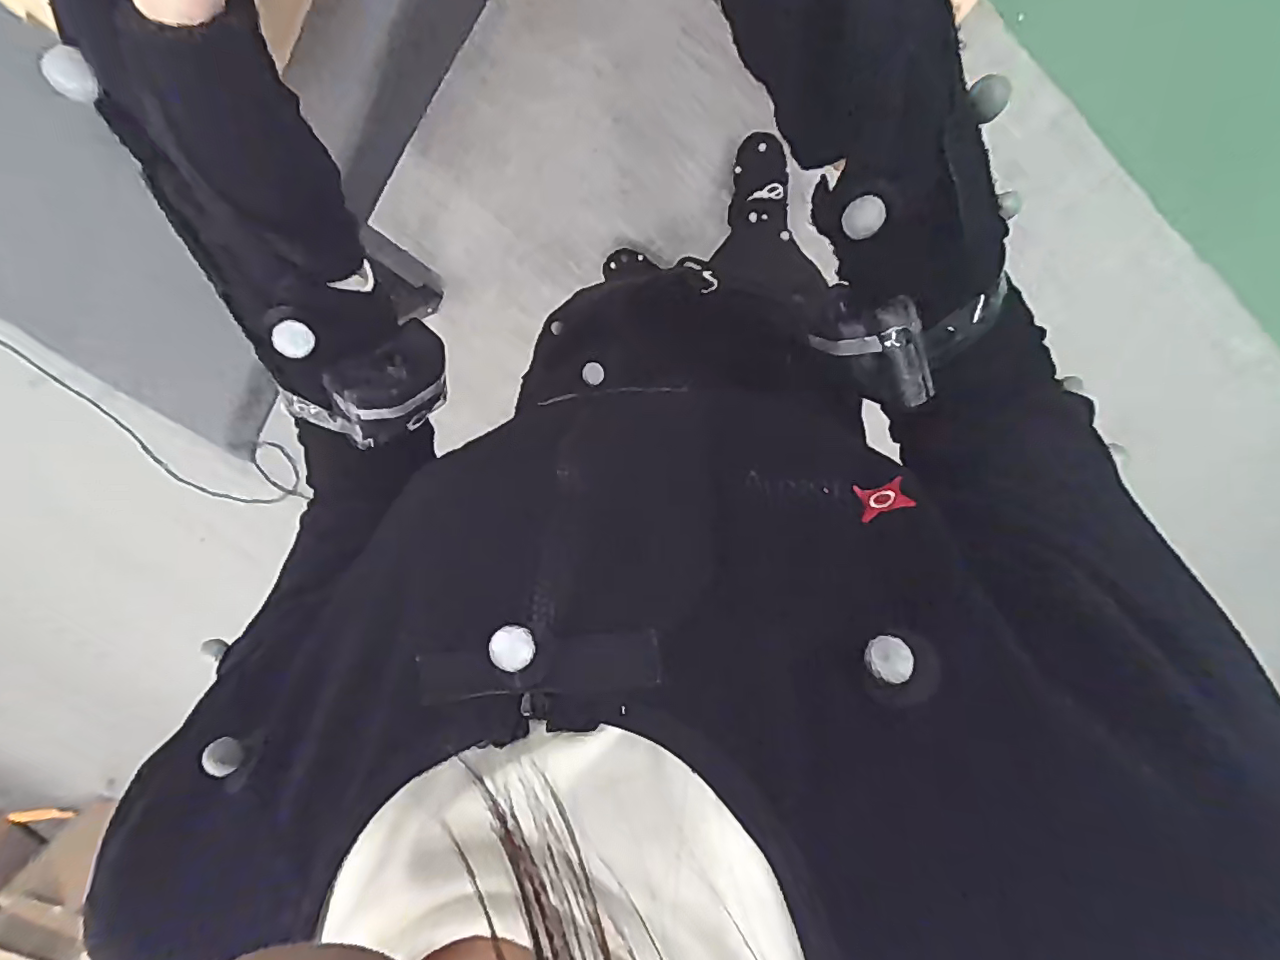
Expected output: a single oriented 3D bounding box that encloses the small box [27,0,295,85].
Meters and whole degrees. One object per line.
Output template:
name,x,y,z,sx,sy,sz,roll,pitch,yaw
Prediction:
small box,-0.380,-0.440,0.400,0.168,0.176,0.179,39,114,-15
